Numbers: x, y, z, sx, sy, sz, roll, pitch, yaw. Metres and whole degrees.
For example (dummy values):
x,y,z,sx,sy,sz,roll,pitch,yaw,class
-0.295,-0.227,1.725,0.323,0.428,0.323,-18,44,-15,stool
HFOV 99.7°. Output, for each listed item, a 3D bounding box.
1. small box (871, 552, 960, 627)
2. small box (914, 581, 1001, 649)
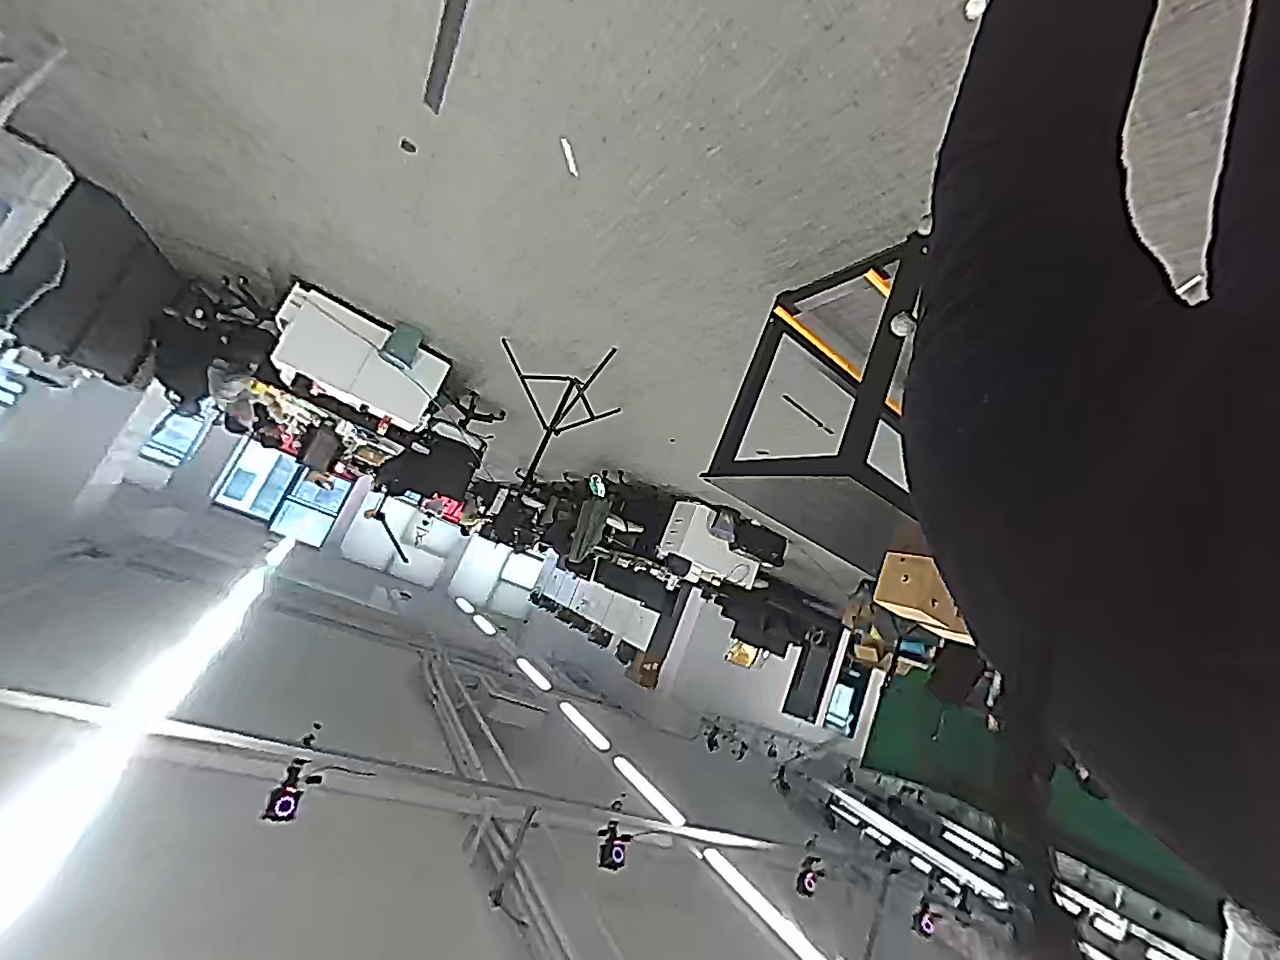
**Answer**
x,y,z,sx,sy,sz,roll,pitch,yaw,class
0.860,0.336,1.685,0.179,0.176,0.168,29,167,-27,small box
1.041,0.428,1.770,0.168,0.176,0.179,27,167,-26,small box
